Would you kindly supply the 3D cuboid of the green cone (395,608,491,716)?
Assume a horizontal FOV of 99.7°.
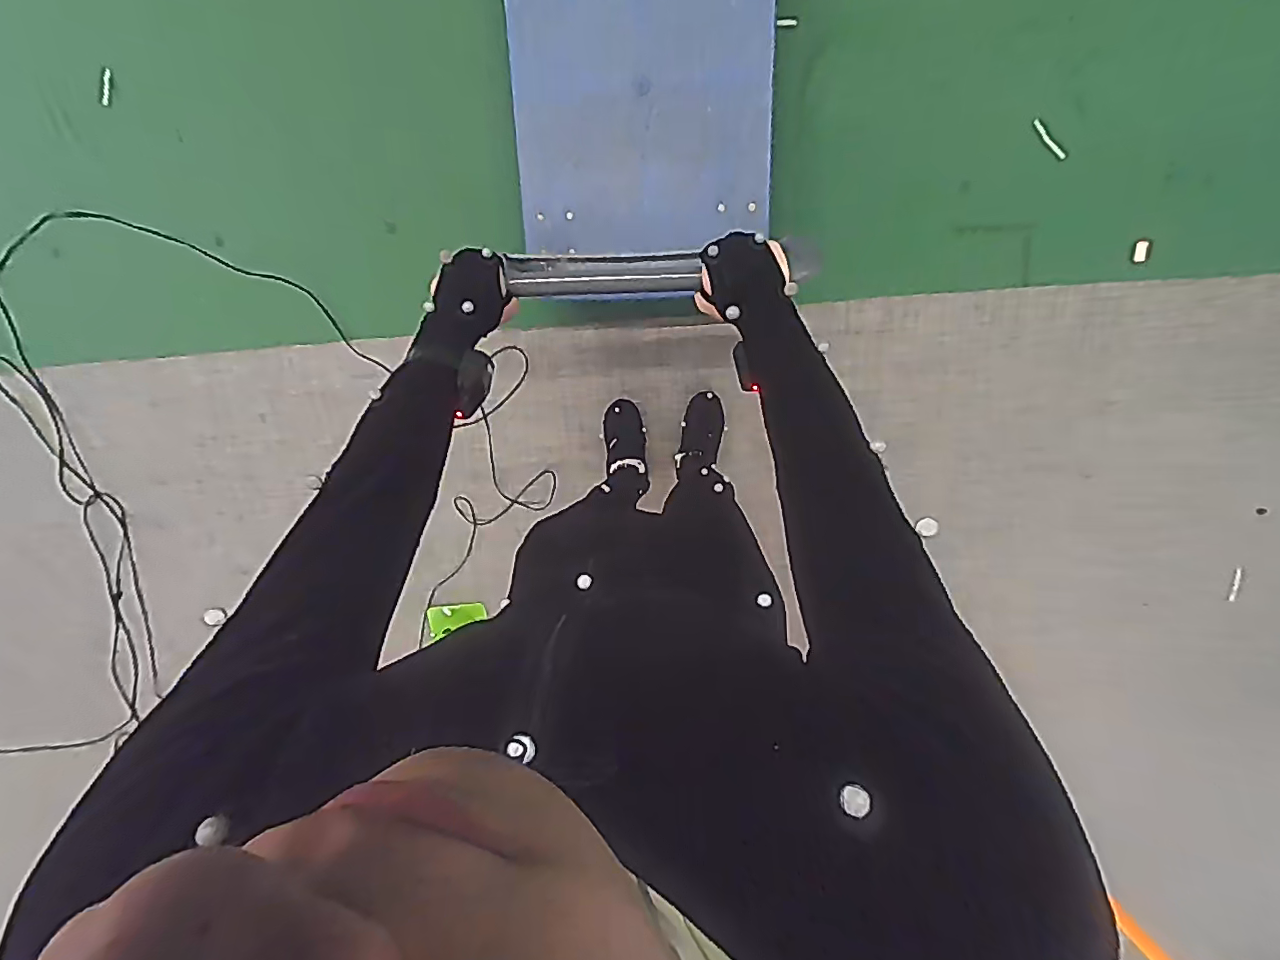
[{"bbox_3d":[-0.615,0.560,1.612,0.202,0.368,0.200,-6,106,7],"label":"green cone"}]
